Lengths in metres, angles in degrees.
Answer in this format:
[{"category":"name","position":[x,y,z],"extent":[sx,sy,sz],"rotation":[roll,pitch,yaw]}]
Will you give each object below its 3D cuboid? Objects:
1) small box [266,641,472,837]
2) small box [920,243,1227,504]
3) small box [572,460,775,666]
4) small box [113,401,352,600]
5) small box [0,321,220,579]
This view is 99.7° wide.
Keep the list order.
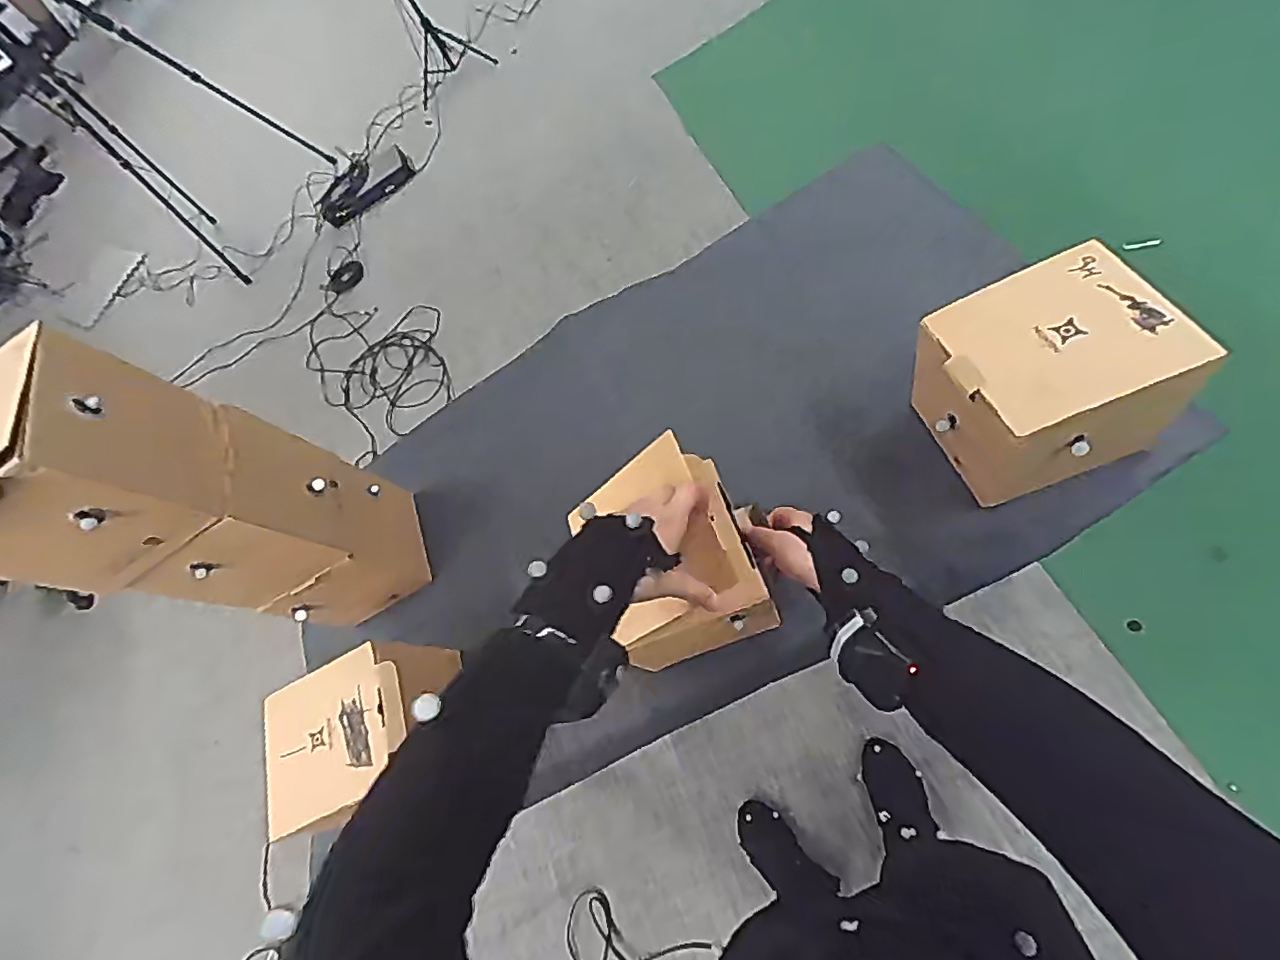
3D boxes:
[{"category":"small box","position":[-0.339,0.323,0.699],"extent":[0.179,0.176,0.168],"rotation":[-28,62,9]},{"category":"small box","position":[0.419,-0.097,0.567],"extent":[0.179,0.176,0.168],"rotation":[-24,59,12]},{"category":"small box","position":[0.045,0.108,0.634],"extent":[0.179,0.176,0.168],"rotation":[-22,62,7]},{"category":"small box","position":[-0.506,0.038,0.689],"extent":[0.179,0.176,0.168],"rotation":[-28,63,8]},{"category":"small box","position":[-0.566,-0.015,0.547],"extent":[0.168,0.176,0.179],"rotation":[-32,61,5]}]
